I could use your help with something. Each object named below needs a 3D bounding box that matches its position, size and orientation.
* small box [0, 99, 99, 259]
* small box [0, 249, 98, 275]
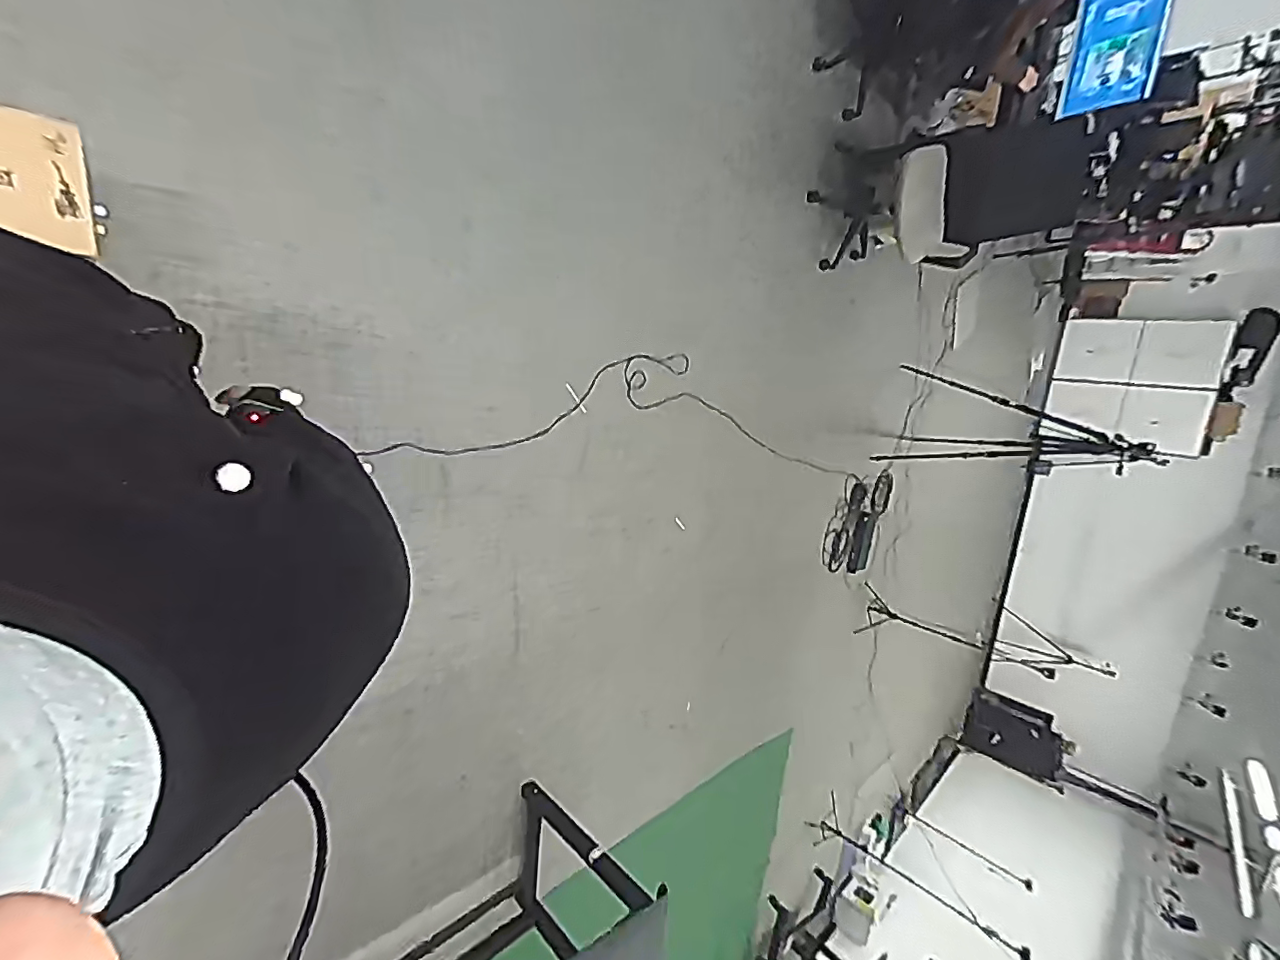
[{"bbox_3d":[-0.861,-0.402,0.724,0.179,0.176,0.168,-8,106,-42],"label":"small box"},{"bbox_3d":[-0.972,-0.428,0.841,0.168,0.176,0.179,-8,107,-43],"label":"small box"}]
